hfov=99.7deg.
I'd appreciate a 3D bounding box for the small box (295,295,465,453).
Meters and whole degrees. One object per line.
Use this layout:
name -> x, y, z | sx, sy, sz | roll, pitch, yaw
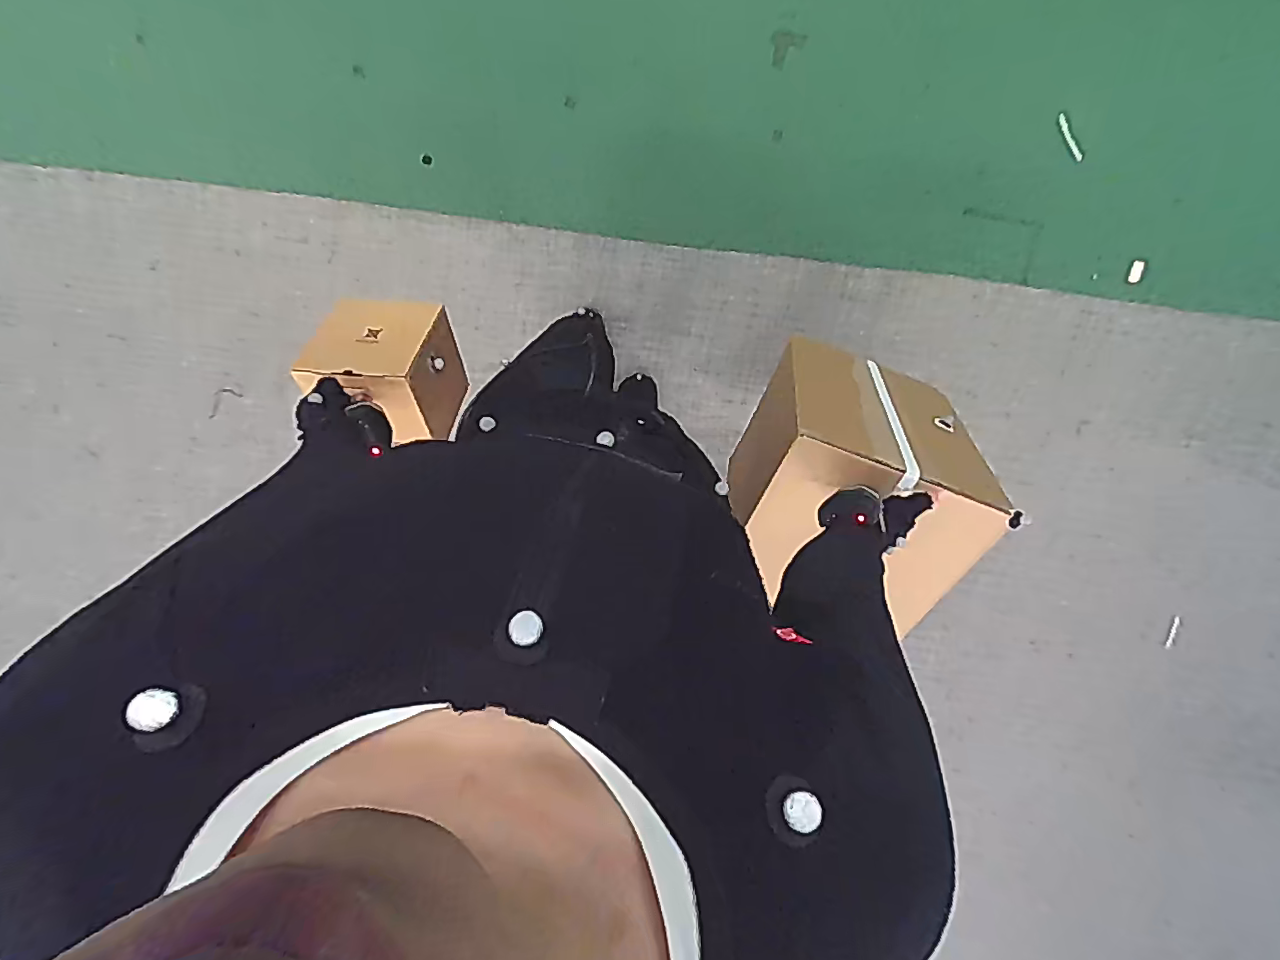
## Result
small box -> -0.392, -0.166, 0.857 | 0.168, 0.179, 0.176 | 4, 143, 3
